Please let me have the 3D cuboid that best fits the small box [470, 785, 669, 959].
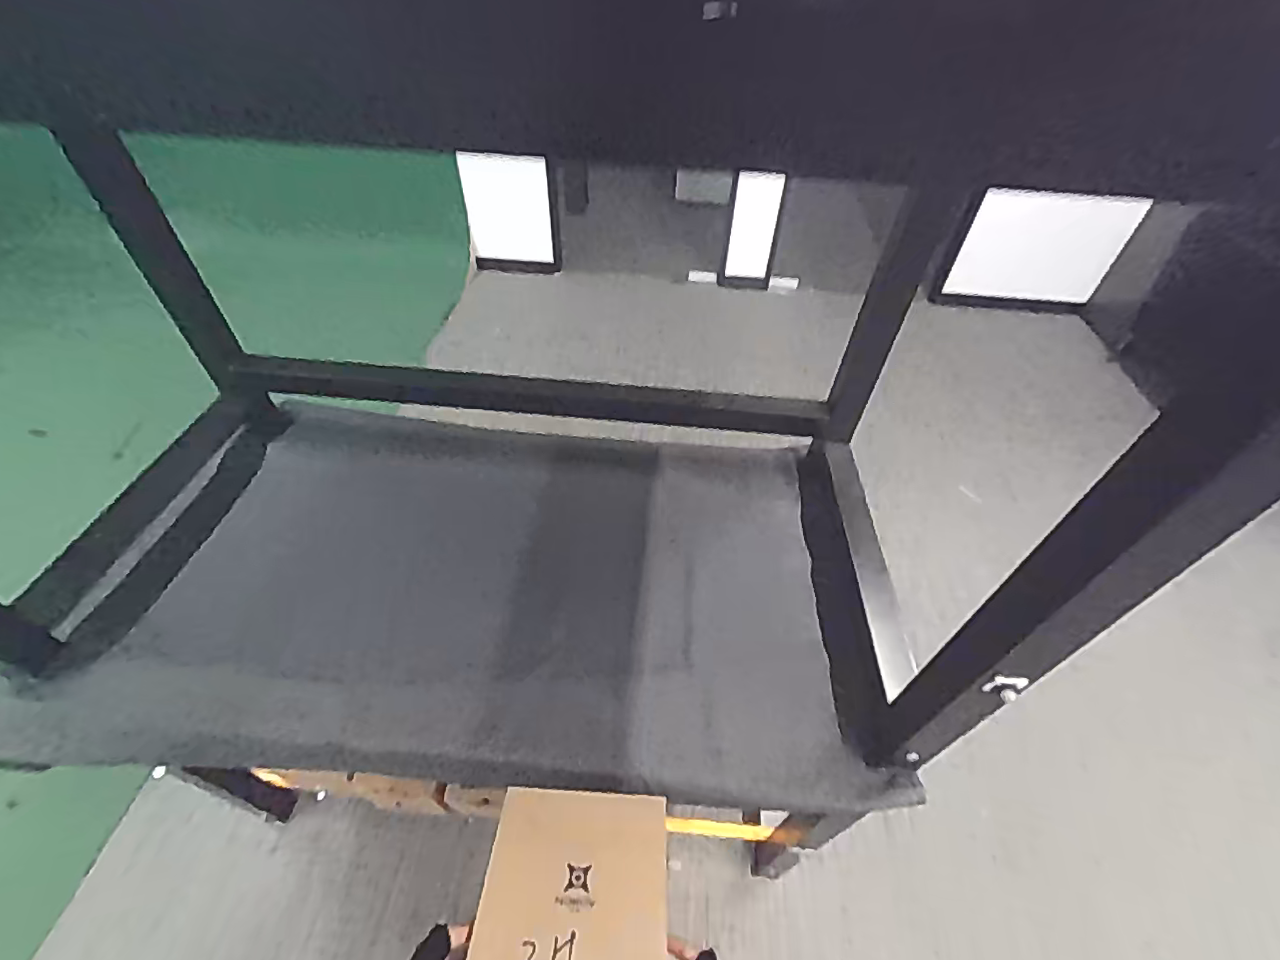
[{"bbox_3d":[-0.061,0.439,0.534,0.168,0.176,0.179,4,32,1],"label":"small box"}]
